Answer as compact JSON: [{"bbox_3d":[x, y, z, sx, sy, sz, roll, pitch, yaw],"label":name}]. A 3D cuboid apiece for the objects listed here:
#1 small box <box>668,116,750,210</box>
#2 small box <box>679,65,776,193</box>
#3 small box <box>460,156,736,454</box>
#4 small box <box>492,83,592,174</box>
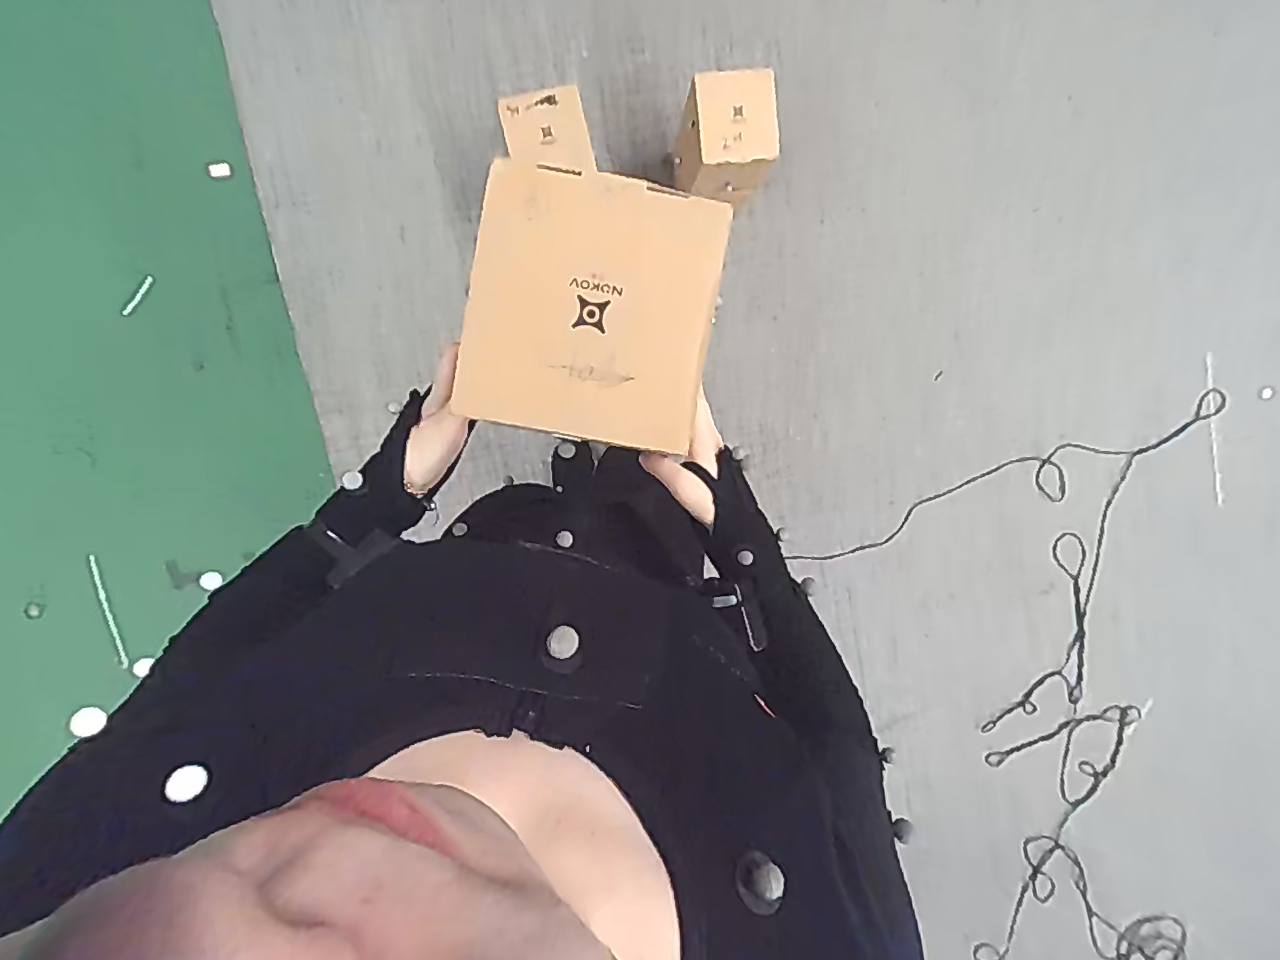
[{"bbox_3d":[0.166,-0.771,1.338,0.168,0.176,0.179,-5,99,-5],"label":"small box"},{"bbox_3d":[0.183,-0.753,1.175,0.168,0.176,0.179,-7,98,-4],"label":"small box"},{"bbox_3d":[-0.033,-0.121,0.448,0.168,0.176,0.179,10,93,-4],"label":"small box"},{"bbox_3d":[-0.197,-0.690,1.148,0.168,0.176,0.179,-14,99,-3],"label":"small box"}]
